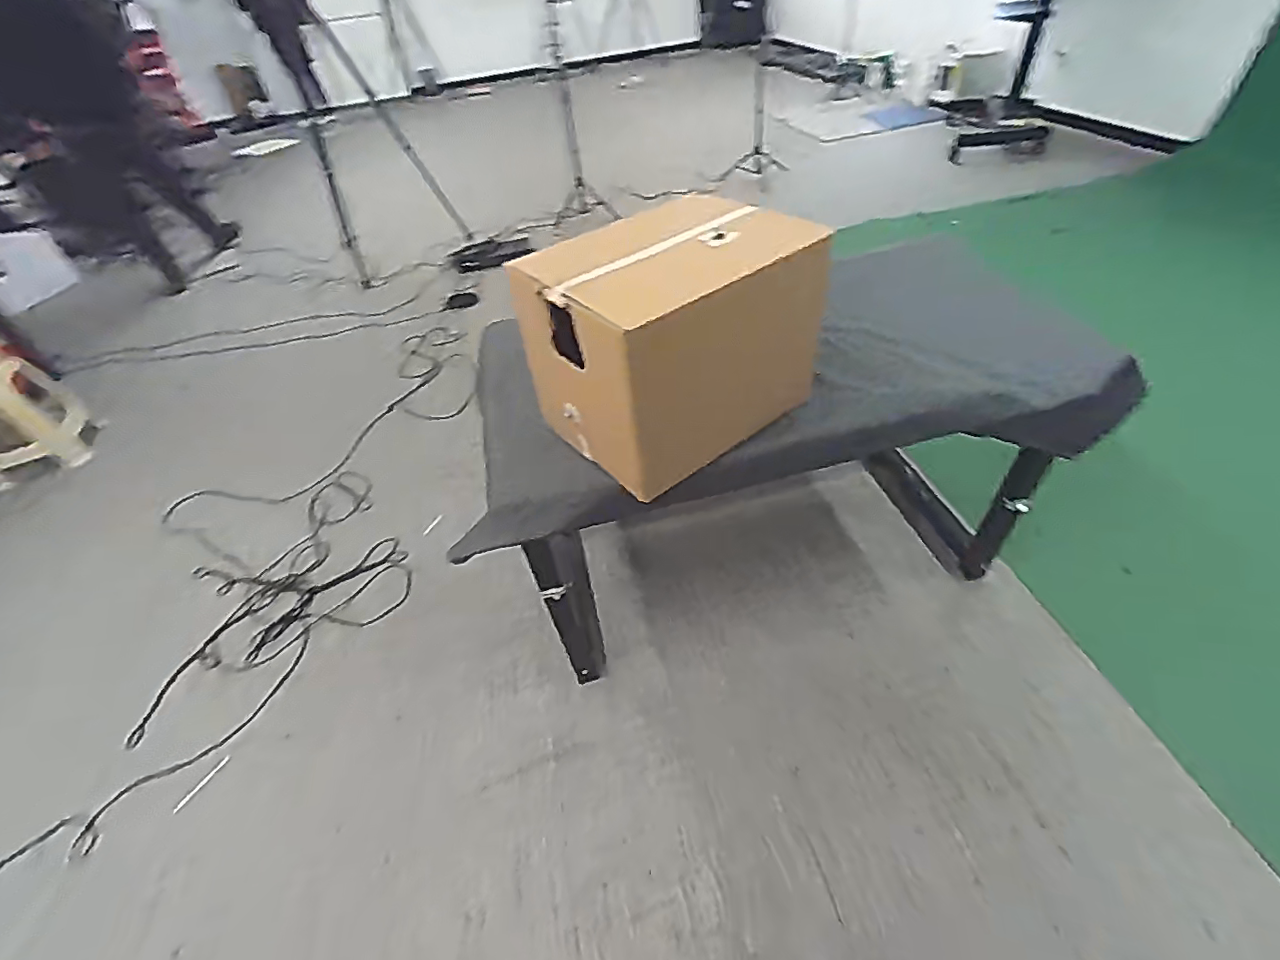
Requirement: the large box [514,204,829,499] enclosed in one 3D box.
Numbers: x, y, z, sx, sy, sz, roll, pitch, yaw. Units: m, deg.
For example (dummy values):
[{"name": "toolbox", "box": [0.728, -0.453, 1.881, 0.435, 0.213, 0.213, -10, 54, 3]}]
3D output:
[{"name": "large box", "box": [0.058, -0.237, 0.936, 0.408, 0.320, 0.320, -31, 49, -24]}]
